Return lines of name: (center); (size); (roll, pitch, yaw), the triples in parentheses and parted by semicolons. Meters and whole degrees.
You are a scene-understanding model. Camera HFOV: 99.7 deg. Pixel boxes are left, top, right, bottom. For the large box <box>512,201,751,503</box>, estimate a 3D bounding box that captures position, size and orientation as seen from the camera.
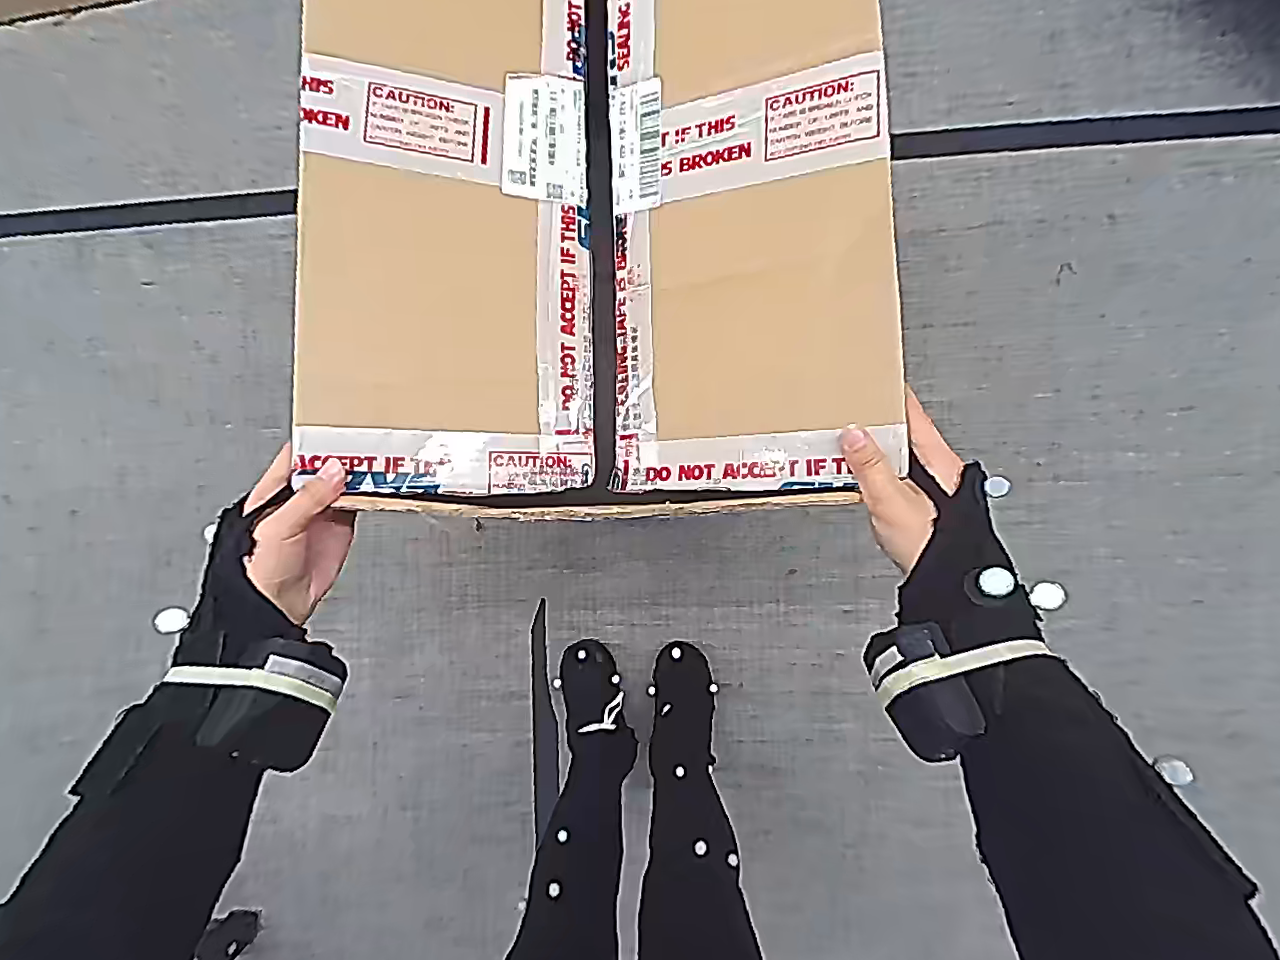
large box: (-0.006, -0.178, 0.893); (0.320, 0.320, 0.408); (-3, 91, 4)
